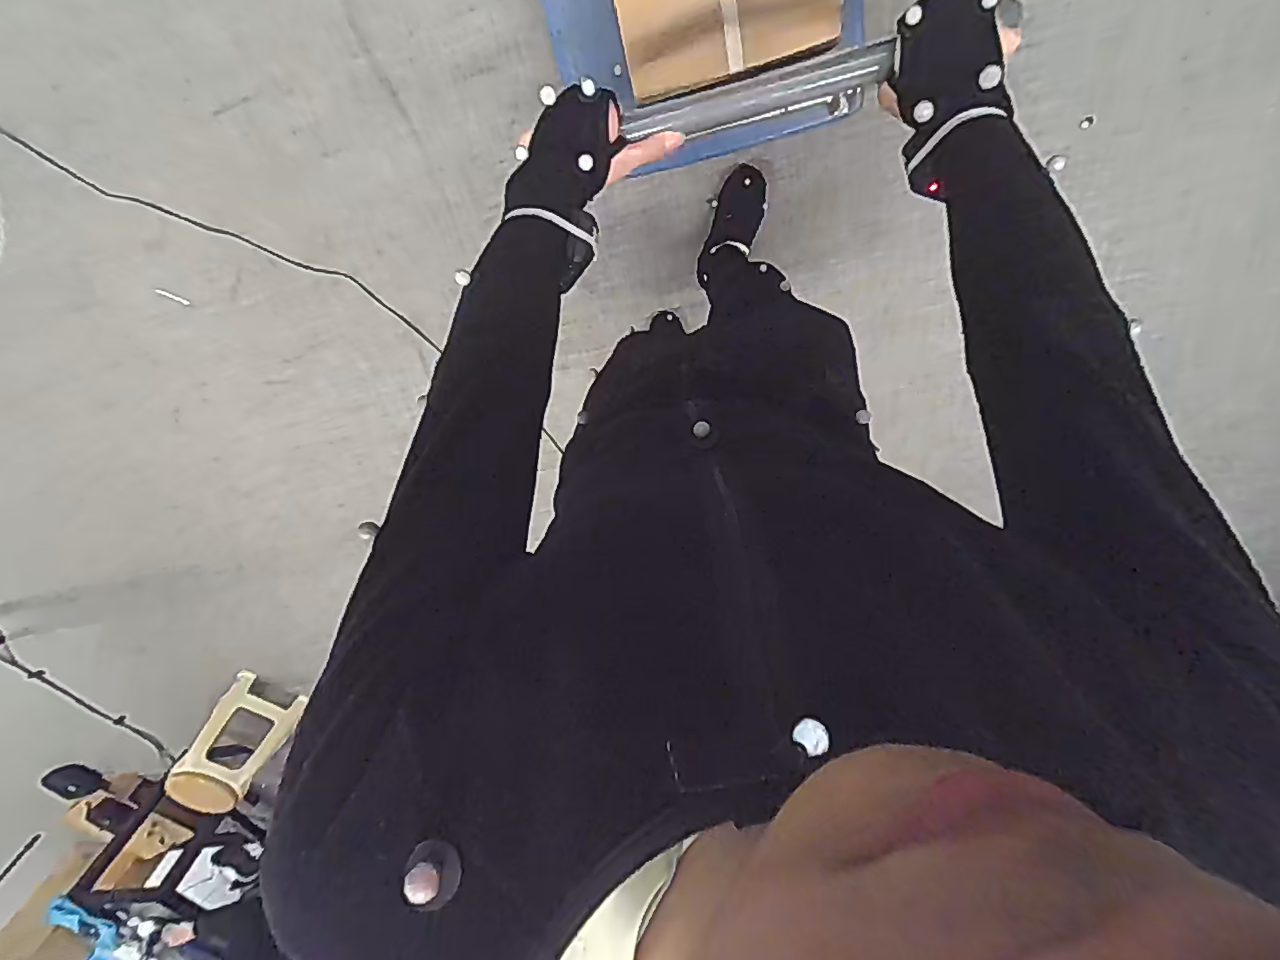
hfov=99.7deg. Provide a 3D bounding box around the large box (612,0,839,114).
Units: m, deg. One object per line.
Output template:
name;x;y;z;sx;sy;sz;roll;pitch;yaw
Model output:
large box;0.106;-0.857;0.848;0.320;0.320;0.408;-10;120;10
